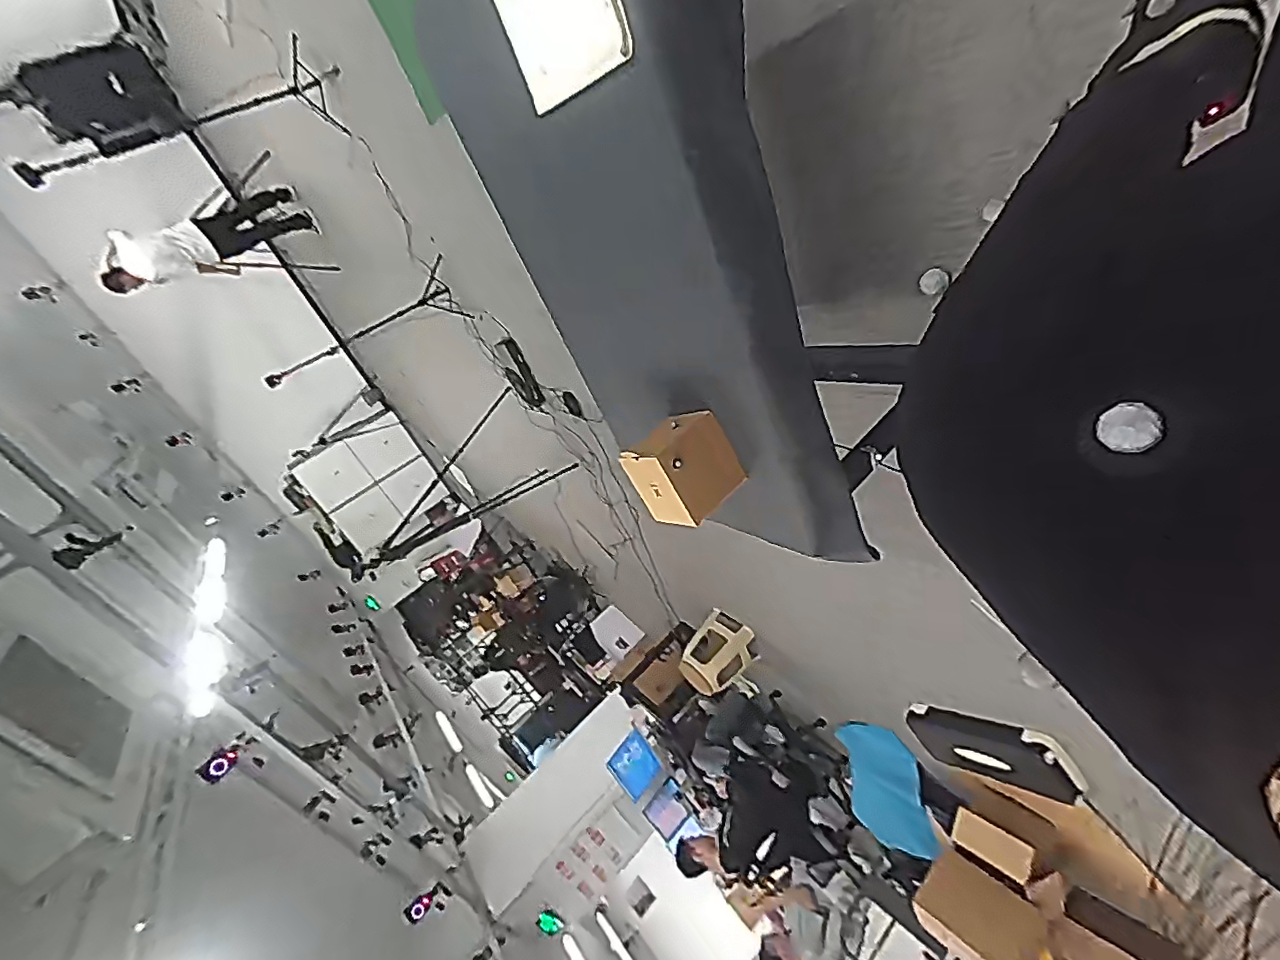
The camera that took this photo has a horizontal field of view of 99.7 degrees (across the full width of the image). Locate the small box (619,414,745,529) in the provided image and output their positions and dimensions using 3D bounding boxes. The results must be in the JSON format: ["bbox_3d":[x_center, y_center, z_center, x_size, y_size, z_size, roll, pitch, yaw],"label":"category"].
[{"bbox_3d":[0.093,-0.020,1.156,0.179,0.176,0.168,59,156,-16],"label":"small box"}]
